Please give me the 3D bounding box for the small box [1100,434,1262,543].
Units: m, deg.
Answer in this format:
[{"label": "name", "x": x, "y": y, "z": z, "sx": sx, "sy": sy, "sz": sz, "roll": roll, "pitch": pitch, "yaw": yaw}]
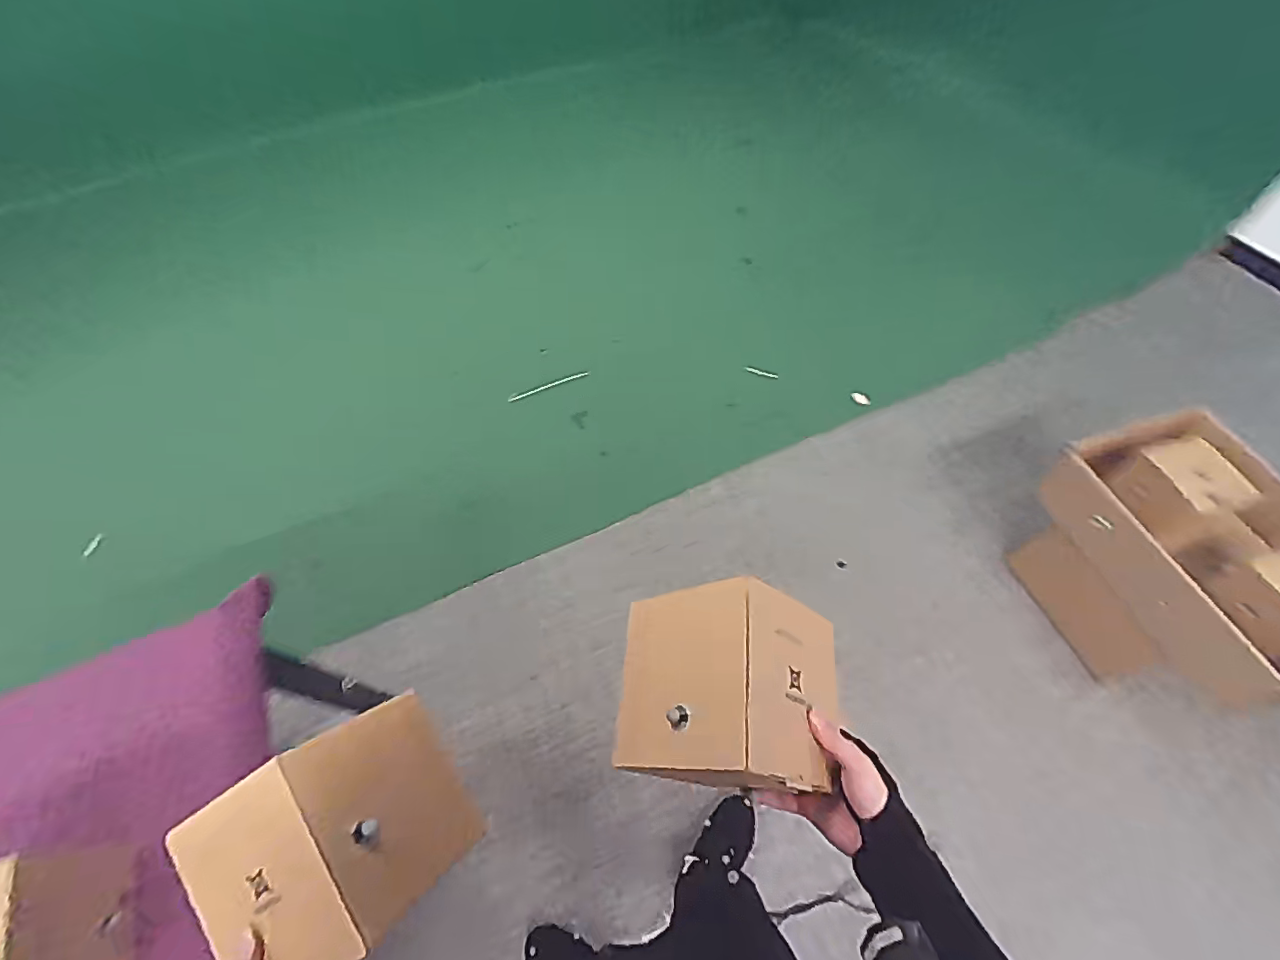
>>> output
[{"label": "small box", "x": 1.271, "y": 0.023, "z": 1.290, "sx": 0.168, "sy": 0.176, "sz": 0.179, "roll": -14, "pitch": 58, "yaw": -6}]
